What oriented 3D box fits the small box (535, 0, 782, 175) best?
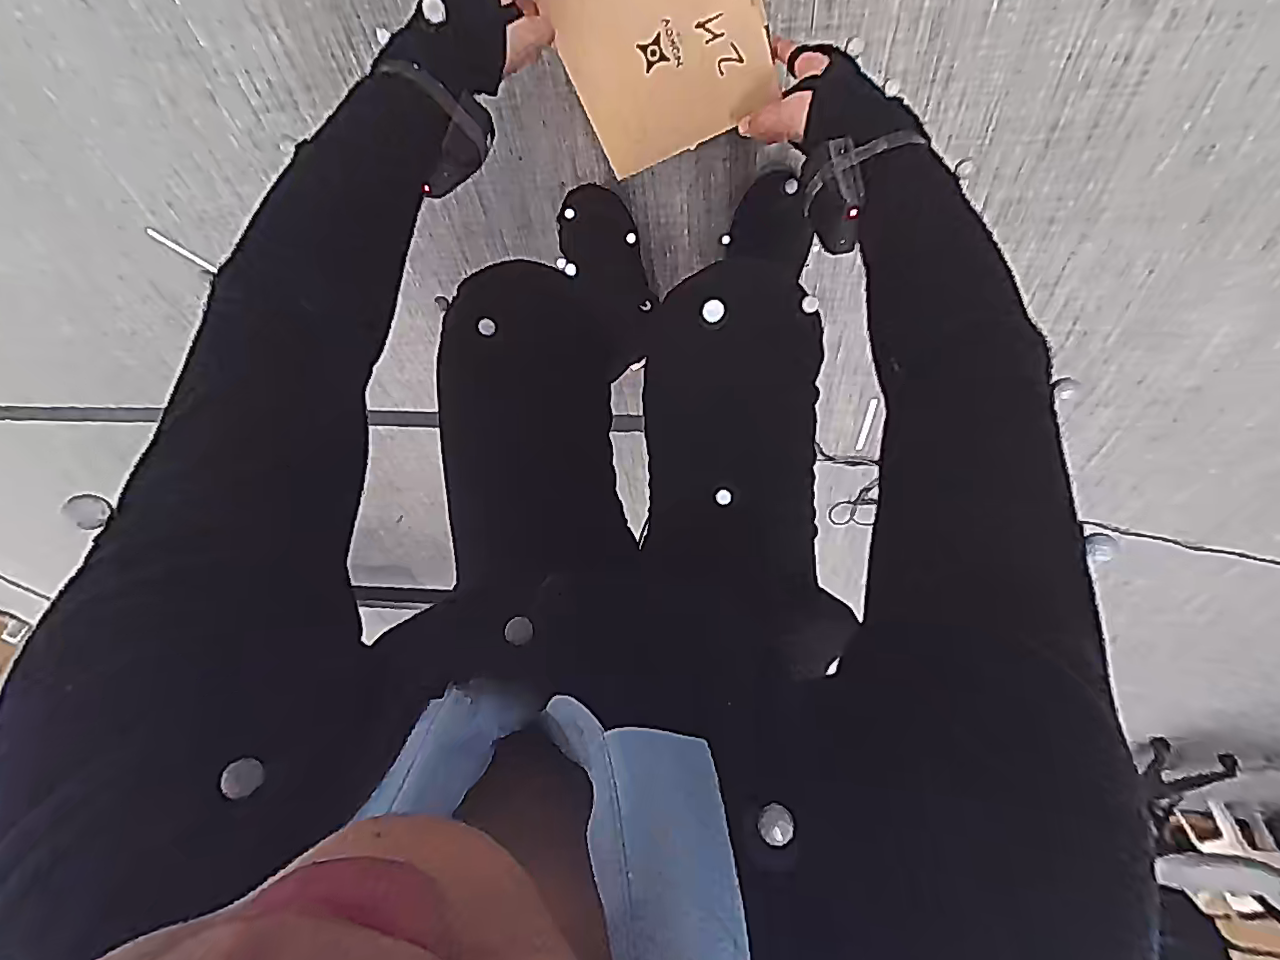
[{"bbox_3d":[0.028,-0.439,0.520,0.179,0.176,0.168,-14,137,23],"label":"small box"}]
